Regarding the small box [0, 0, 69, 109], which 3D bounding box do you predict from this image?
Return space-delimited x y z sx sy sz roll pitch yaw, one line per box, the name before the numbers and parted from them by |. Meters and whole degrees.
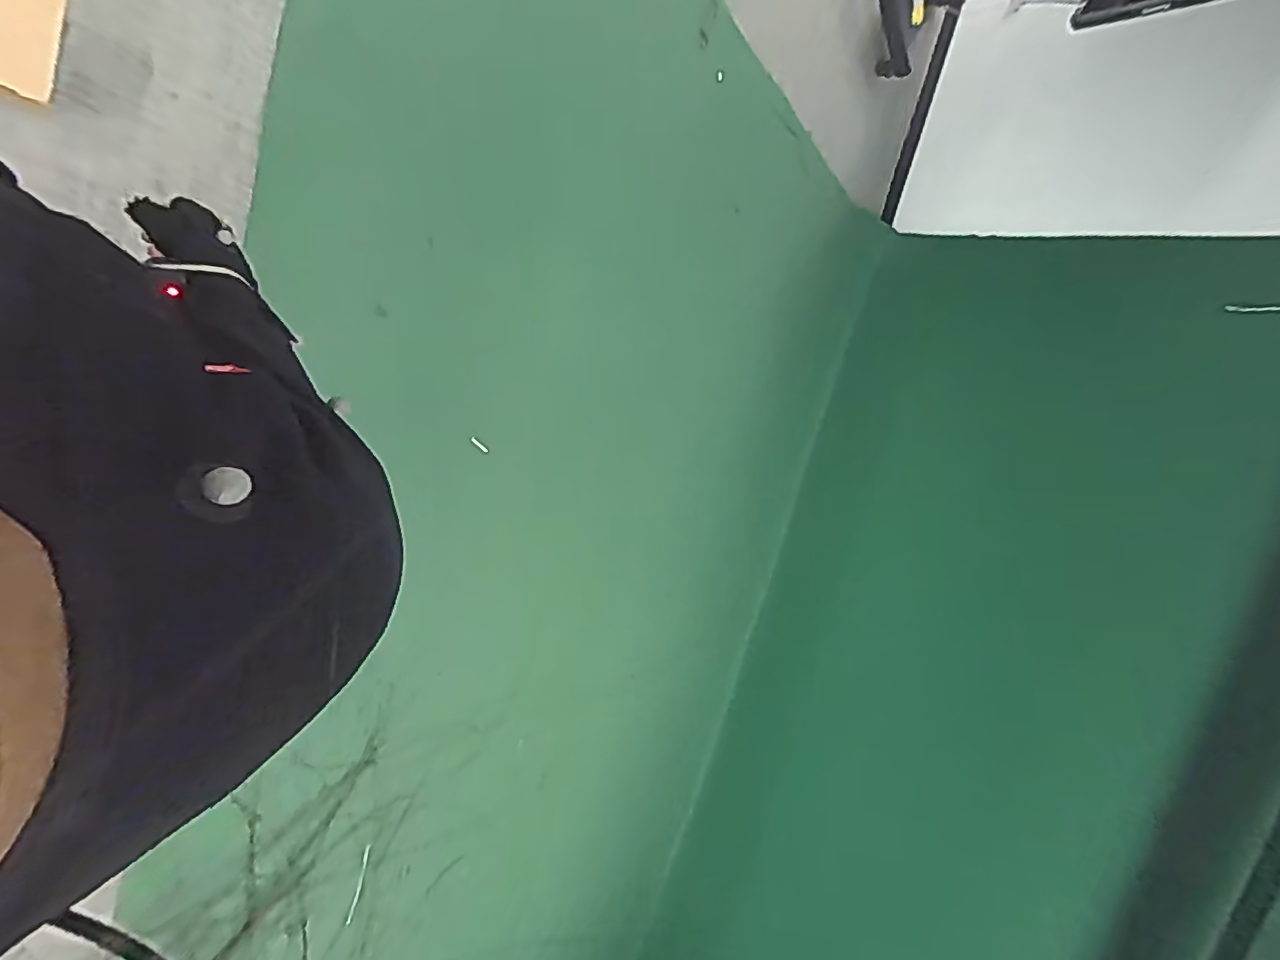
small box | -0.992 -0.699 0.809 0.168 0.176 0.179 10 100 -50
